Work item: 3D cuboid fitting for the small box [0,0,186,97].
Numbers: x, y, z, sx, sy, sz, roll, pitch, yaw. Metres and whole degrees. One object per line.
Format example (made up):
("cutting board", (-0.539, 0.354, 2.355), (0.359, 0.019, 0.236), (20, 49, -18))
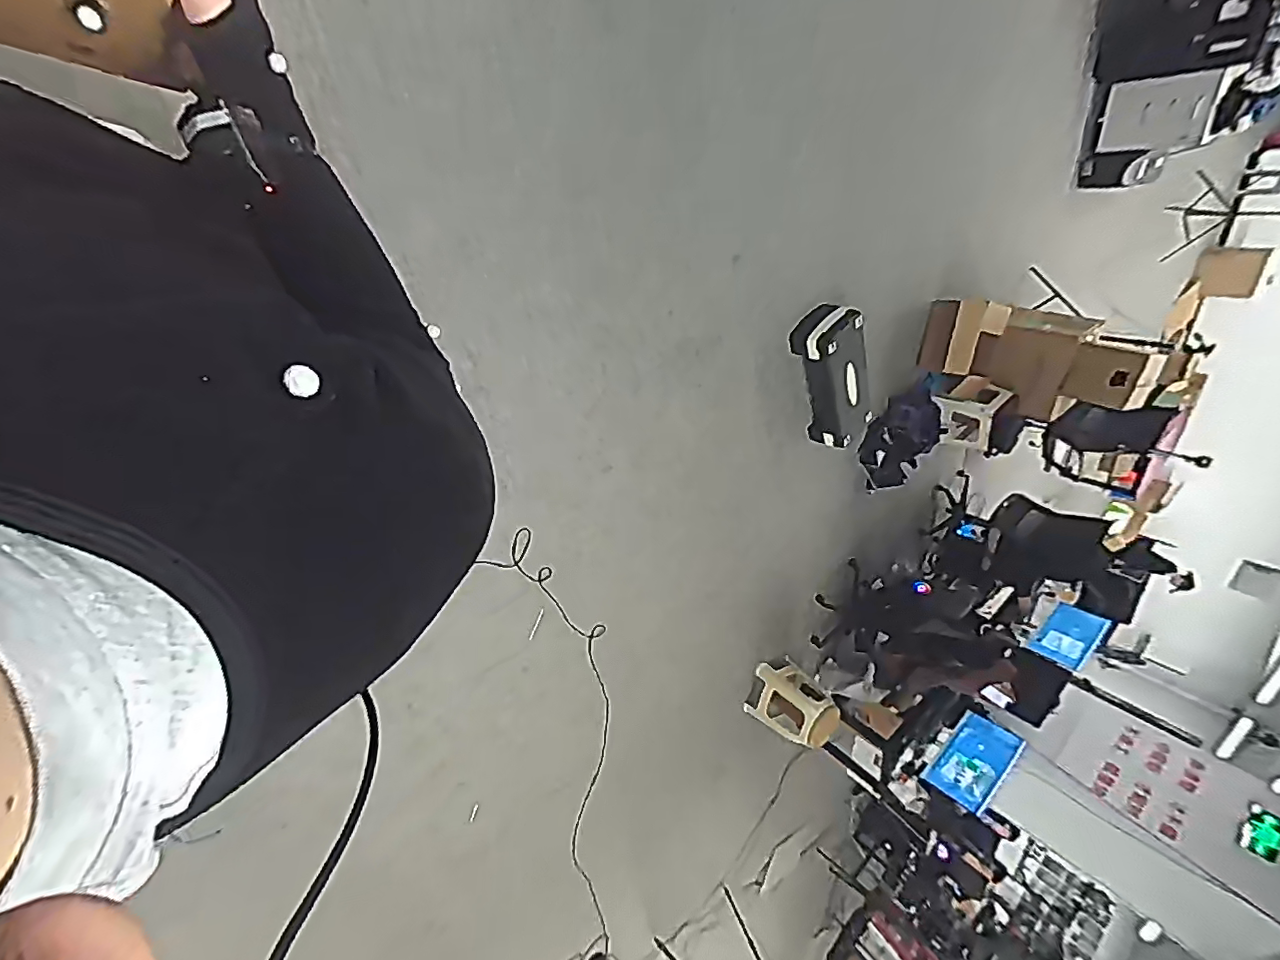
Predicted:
("small box", (-0.406, -0.396, 0.345), (0.168, 0.176, 0.179), (-4, 93, -37))
